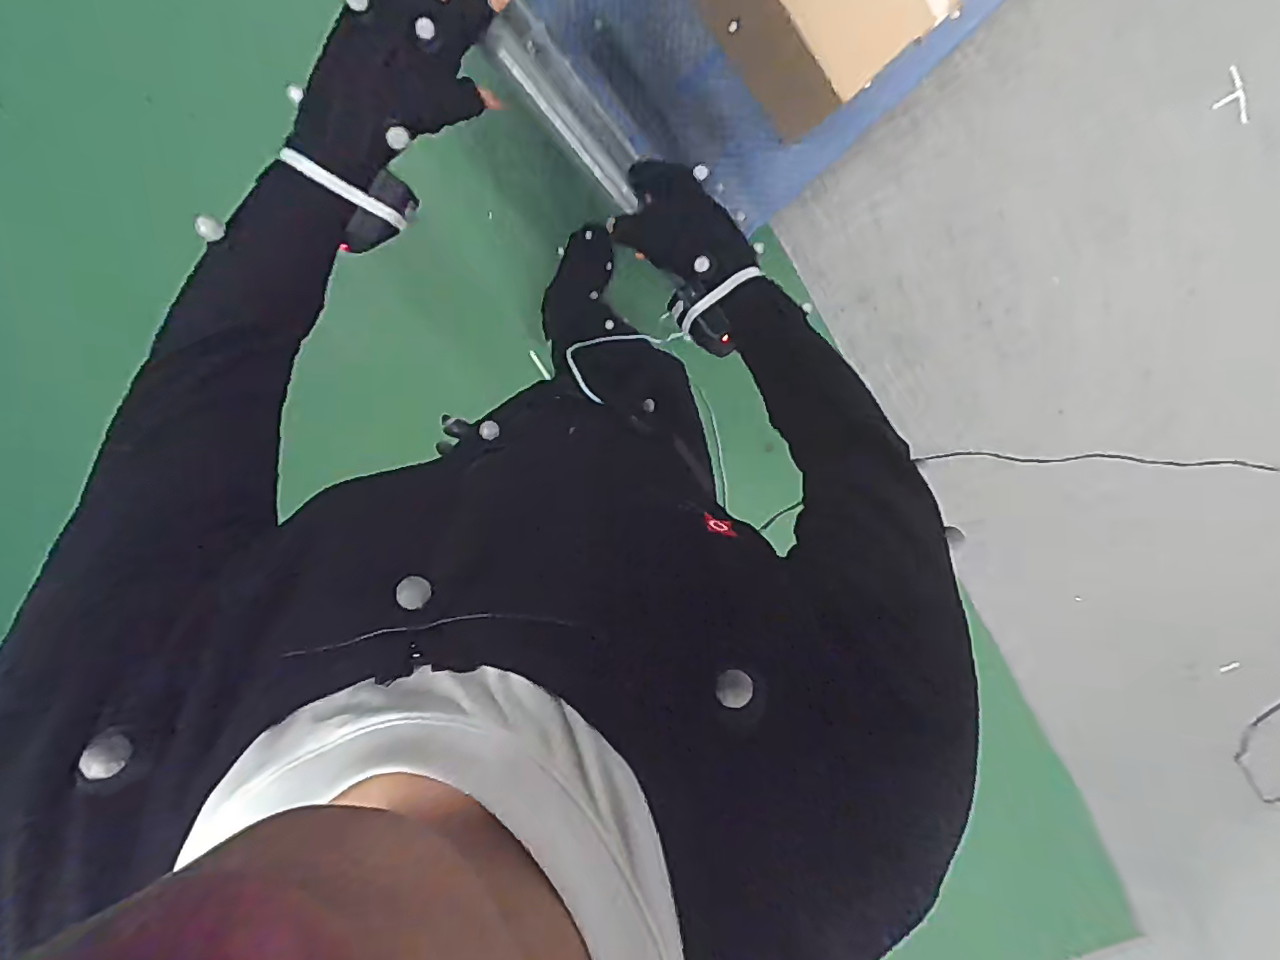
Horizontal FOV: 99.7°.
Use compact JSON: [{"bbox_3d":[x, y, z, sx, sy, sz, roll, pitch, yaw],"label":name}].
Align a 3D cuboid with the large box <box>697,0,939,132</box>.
[{"bbox_3d":[0.272,-0.845,0.825,0.320,0.320,0.408,-40,107,13],"label":"large box"}]
